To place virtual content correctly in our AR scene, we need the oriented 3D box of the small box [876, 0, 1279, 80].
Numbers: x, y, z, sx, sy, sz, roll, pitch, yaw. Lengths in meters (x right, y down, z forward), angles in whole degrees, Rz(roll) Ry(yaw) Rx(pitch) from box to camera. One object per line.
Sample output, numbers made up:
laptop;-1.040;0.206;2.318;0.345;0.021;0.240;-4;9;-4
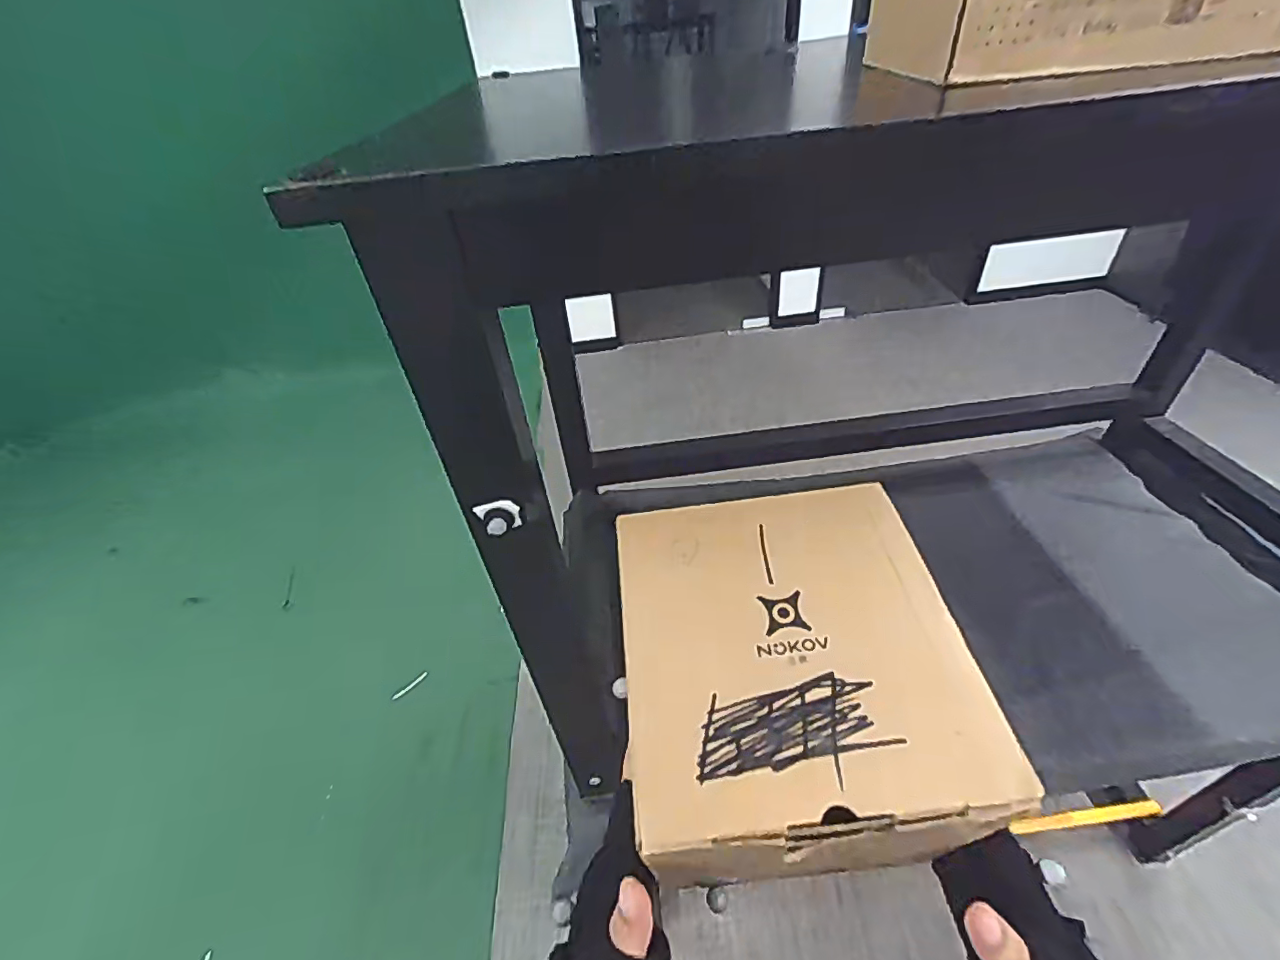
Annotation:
small box;0.245;-0.328;0.292;0.168;0.176;0.179;-1;41;6
